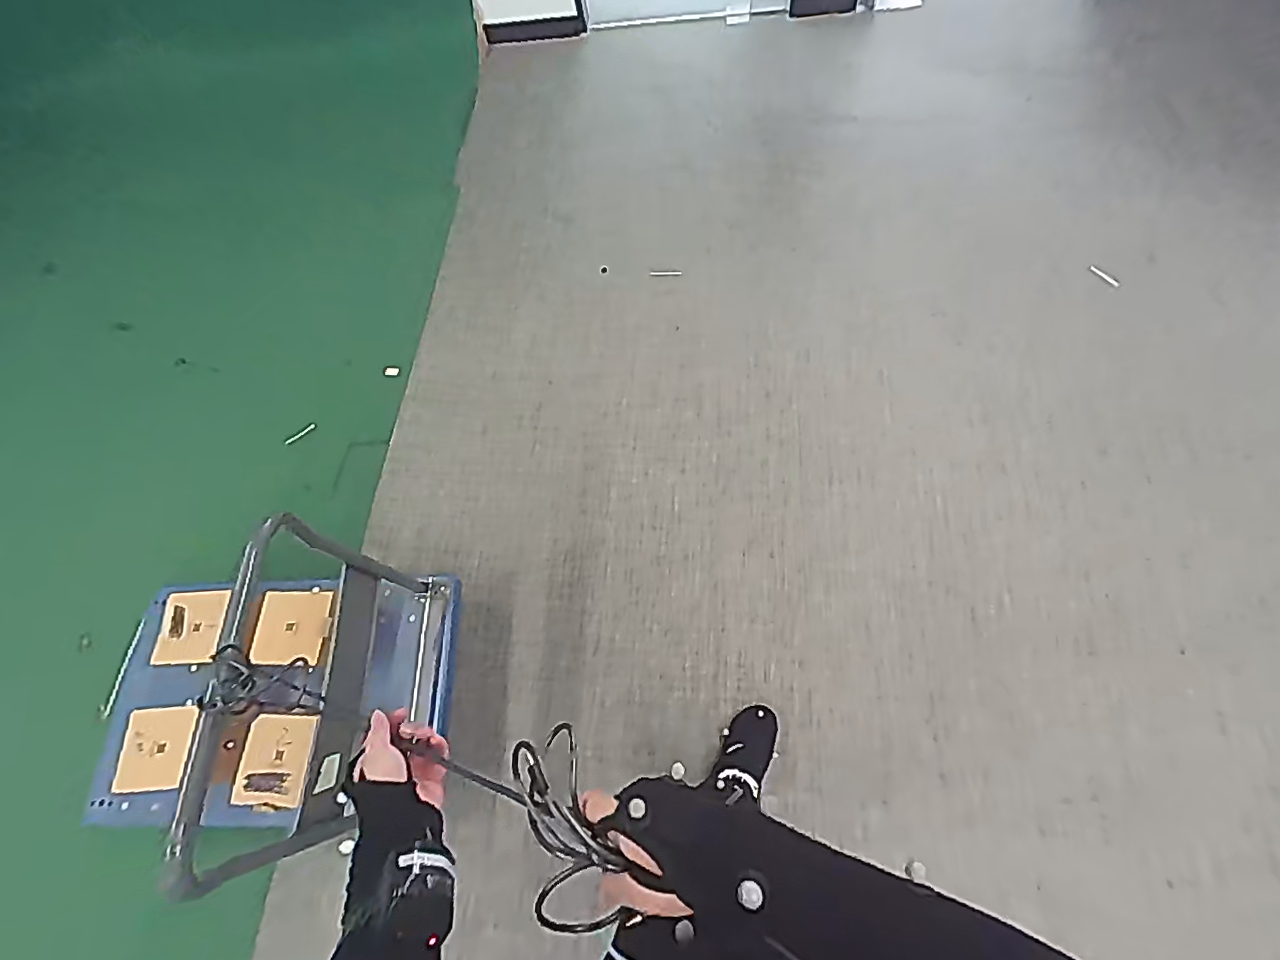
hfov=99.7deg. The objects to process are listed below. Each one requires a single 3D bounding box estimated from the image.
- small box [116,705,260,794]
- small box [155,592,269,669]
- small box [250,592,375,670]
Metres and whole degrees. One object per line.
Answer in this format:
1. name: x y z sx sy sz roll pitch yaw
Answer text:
1. small box: -1.029 0.616 1.250 0.179 0.176 0.168 -6 67 4
2. small box: -1.031 0.378 1.345 0.179 0.176 0.168 -4 69 4
3. small box: -0.789 0.372 1.320 0.179 0.176 0.168 -1 68 6
